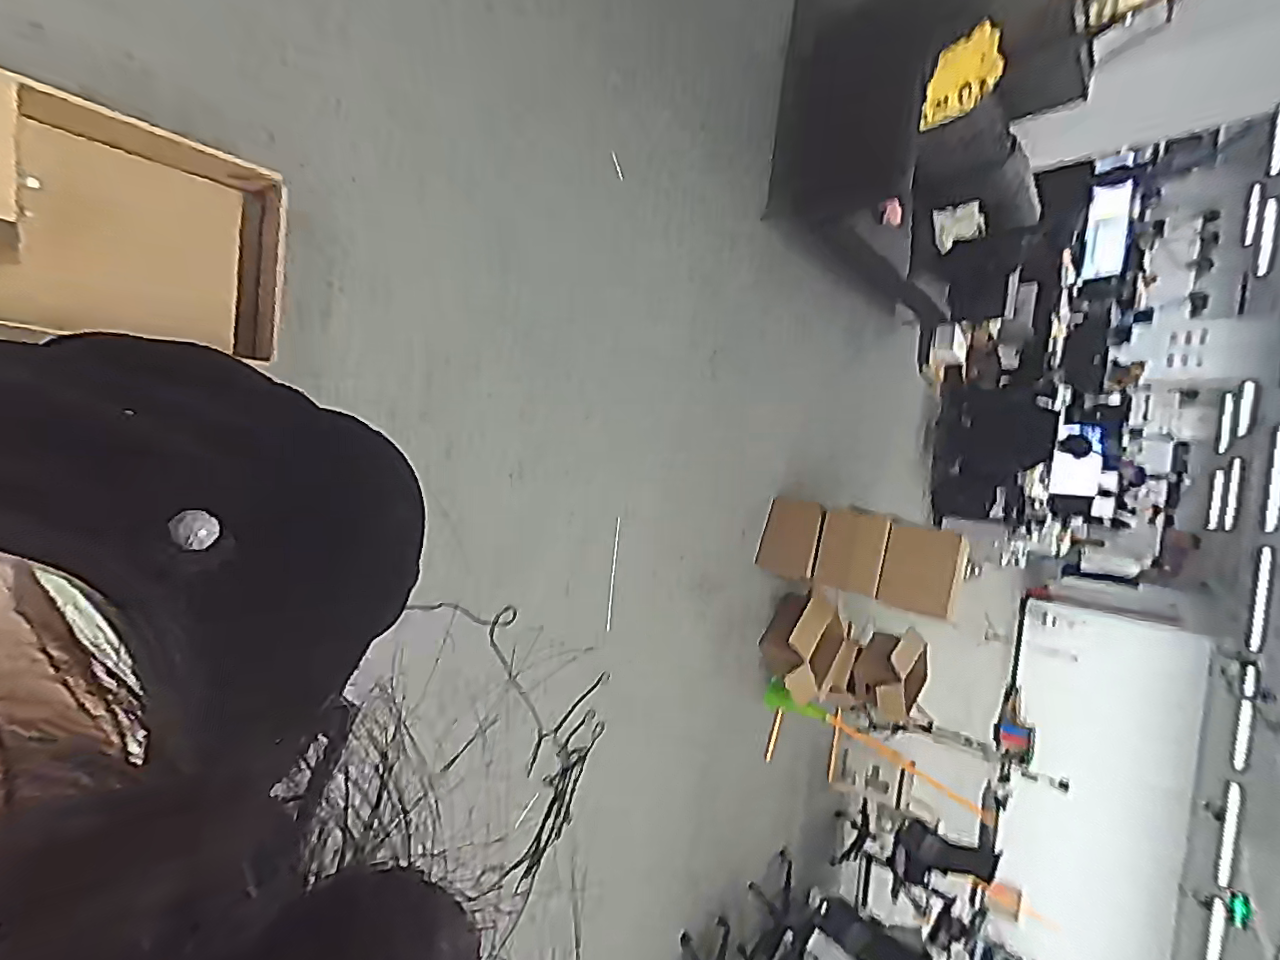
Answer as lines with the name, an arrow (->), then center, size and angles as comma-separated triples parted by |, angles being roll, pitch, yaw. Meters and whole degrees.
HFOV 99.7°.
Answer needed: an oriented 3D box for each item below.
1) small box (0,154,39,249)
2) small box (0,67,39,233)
small box -> -0.972, -0.437, 0.751 | 0.179, 0.176, 0.168 | 1, 98, -47
small box -> -0.852, -0.412, 0.643 | 0.179, 0.176, 0.168 | 1, 98, -47
